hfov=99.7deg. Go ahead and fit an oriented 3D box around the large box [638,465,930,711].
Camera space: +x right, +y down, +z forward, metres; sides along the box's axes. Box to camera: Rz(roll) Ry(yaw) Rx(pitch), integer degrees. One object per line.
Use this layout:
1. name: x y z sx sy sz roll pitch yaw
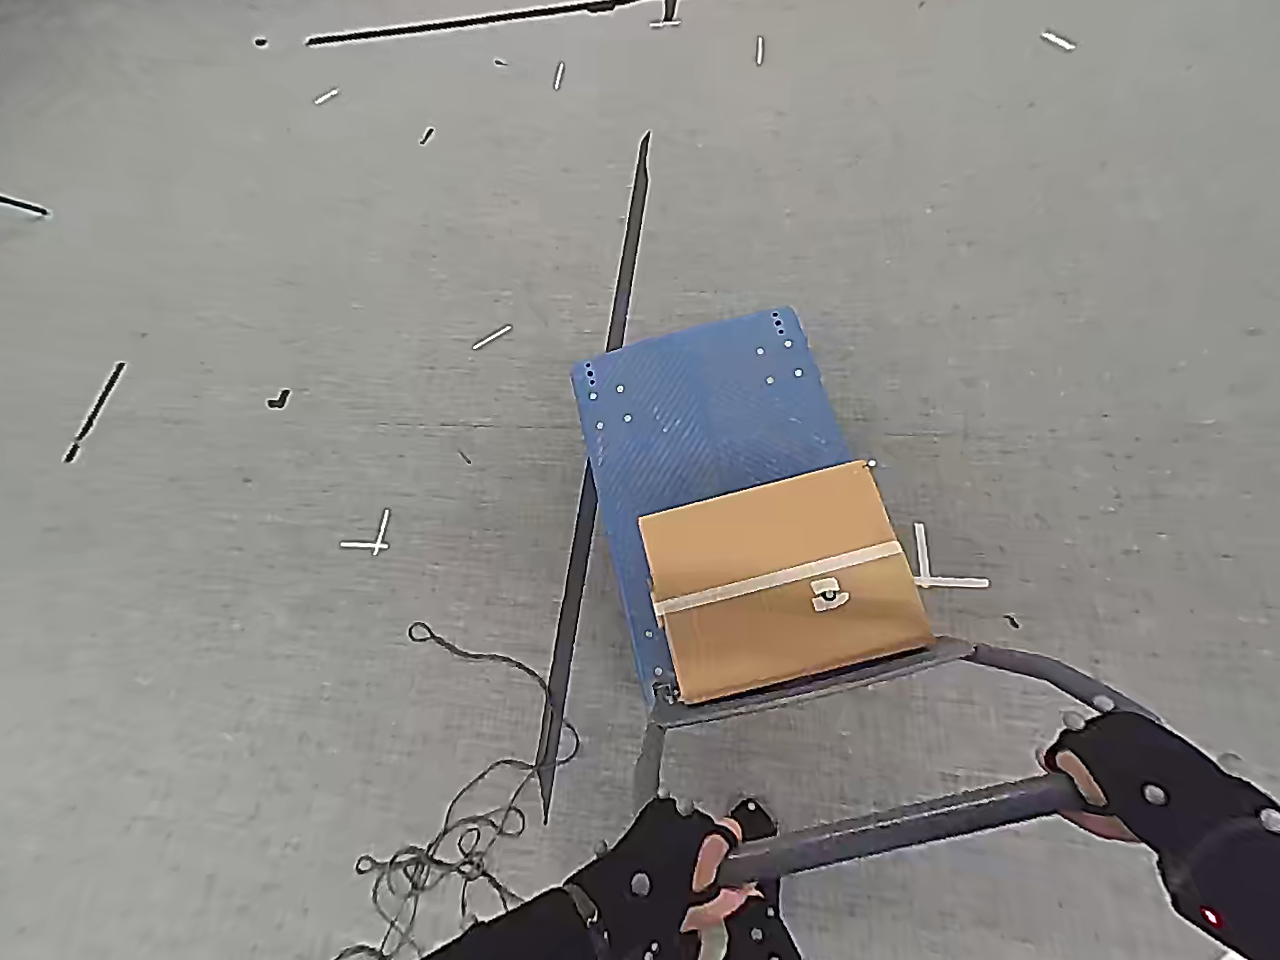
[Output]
1. large box: 0.236 0.208 1.023 0.408 0.320 0.320 -15 75 1
